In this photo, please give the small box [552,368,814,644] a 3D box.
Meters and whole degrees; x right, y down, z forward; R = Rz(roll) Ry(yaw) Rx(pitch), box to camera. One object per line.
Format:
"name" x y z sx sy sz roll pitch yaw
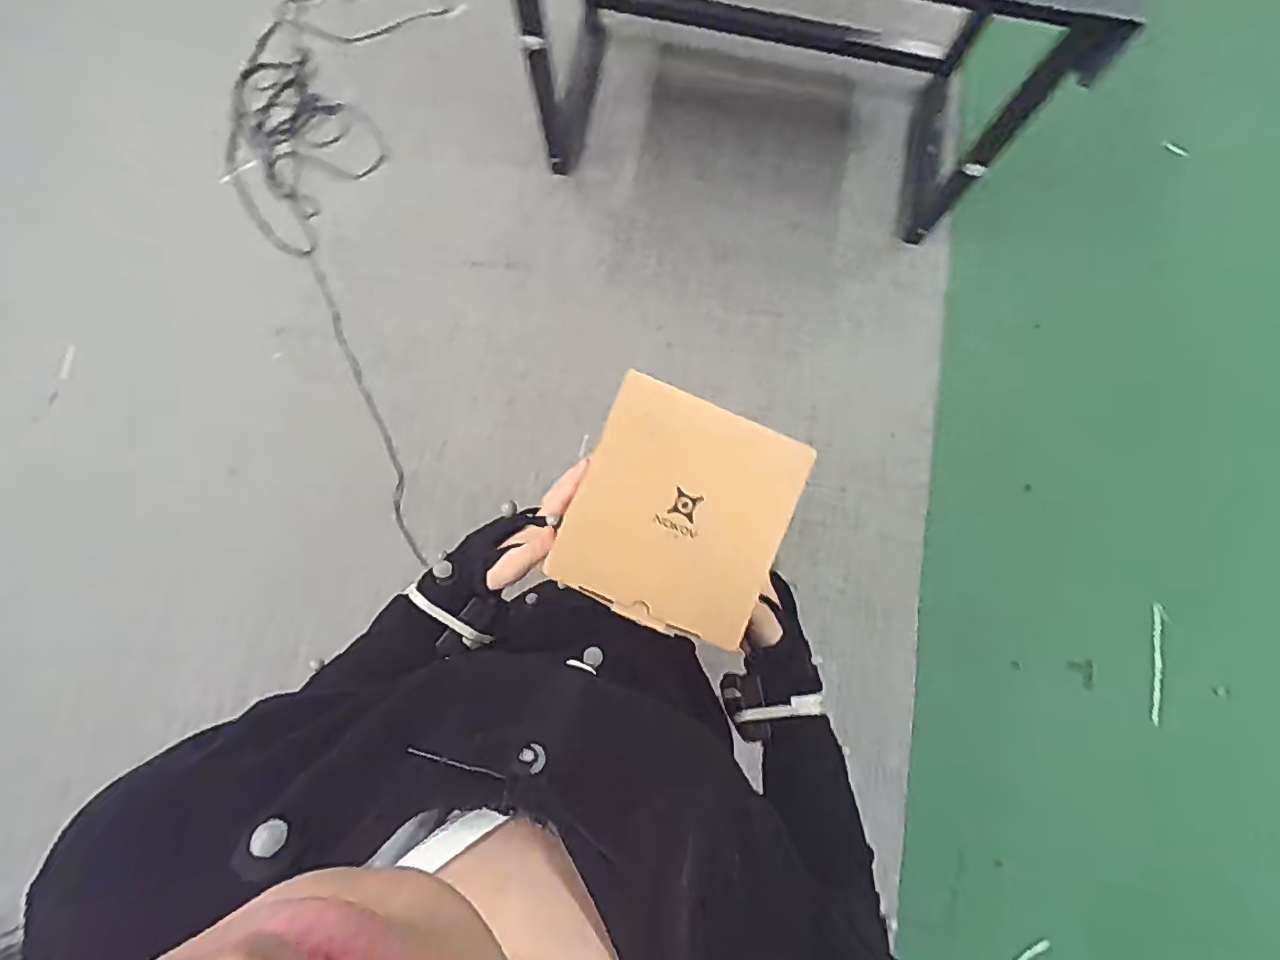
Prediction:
"small box" 0.029 0.021 0.509 0.168 0.176 0.179 23 88 -4
